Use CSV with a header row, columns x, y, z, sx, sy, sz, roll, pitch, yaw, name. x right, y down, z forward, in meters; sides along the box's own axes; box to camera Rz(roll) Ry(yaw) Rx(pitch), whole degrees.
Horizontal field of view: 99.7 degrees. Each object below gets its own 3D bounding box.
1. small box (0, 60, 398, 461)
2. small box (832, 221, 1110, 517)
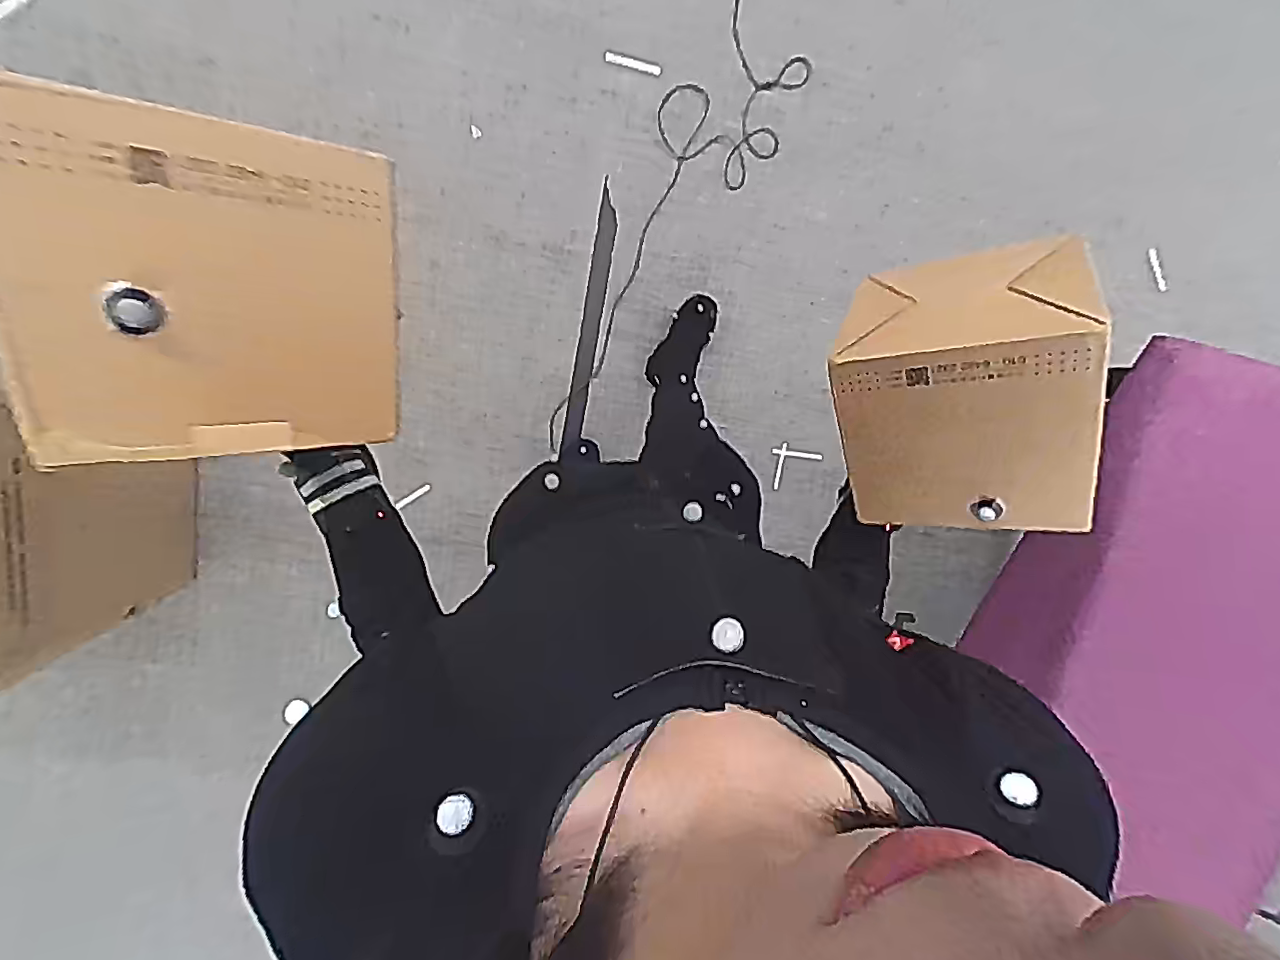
x,y,z,sx,sy,sz,roll,pitch,yaw,name
-0.262,-0.127,0.331,0.168,0.179,0.176,-9,118,-38,small box
0.273,-0.090,0.451,0.168,0.179,0.176,-1,130,36,small box
